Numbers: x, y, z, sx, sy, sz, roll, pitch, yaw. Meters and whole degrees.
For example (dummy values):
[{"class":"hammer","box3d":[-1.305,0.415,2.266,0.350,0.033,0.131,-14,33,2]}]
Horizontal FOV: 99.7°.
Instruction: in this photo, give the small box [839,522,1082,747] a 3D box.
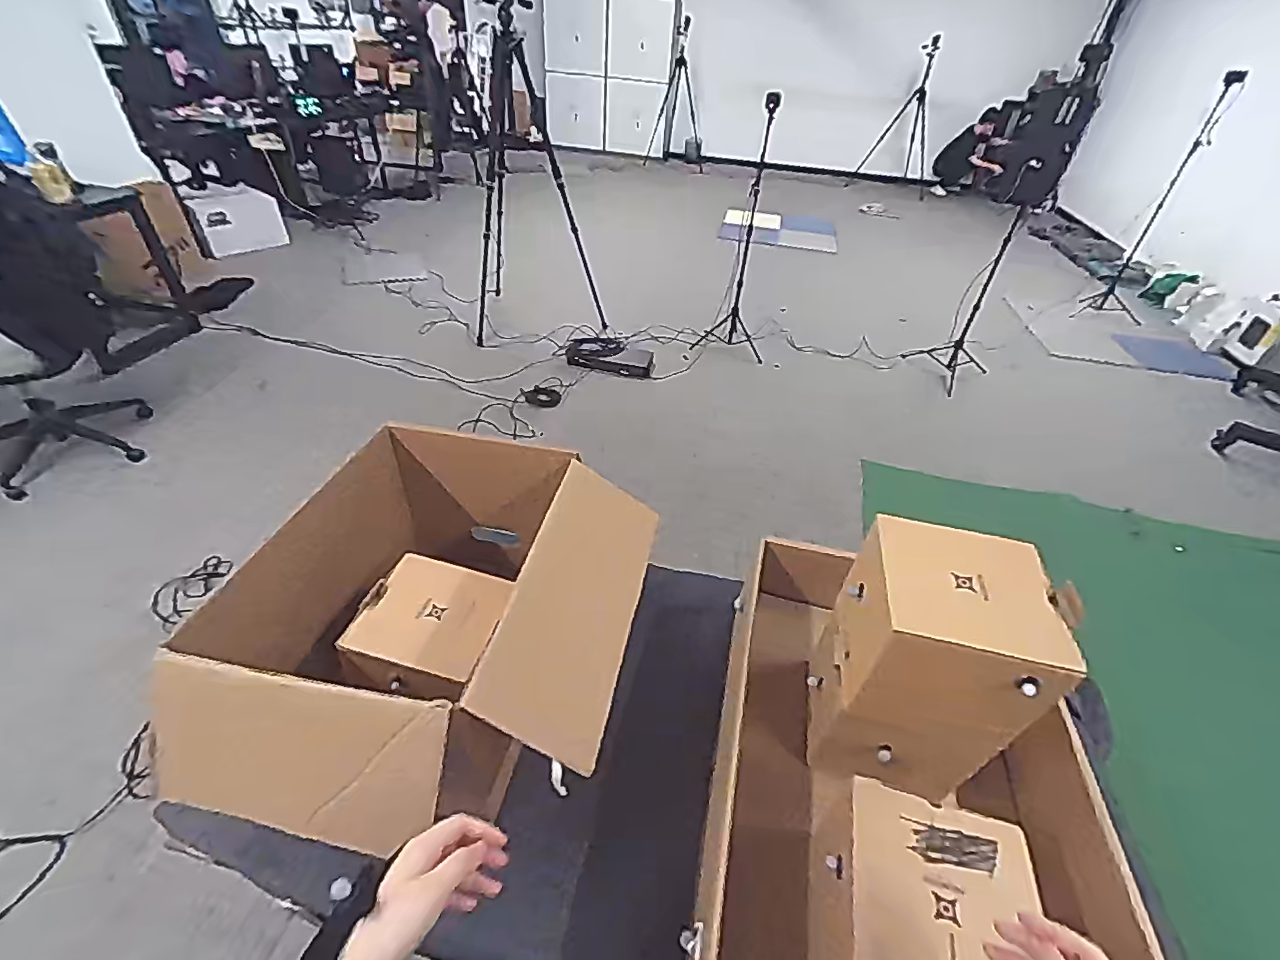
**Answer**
[{"class":"small box","box3d":[0.335,0.176,0.616,0.179,0.176,0.168,11,42,8]}]
